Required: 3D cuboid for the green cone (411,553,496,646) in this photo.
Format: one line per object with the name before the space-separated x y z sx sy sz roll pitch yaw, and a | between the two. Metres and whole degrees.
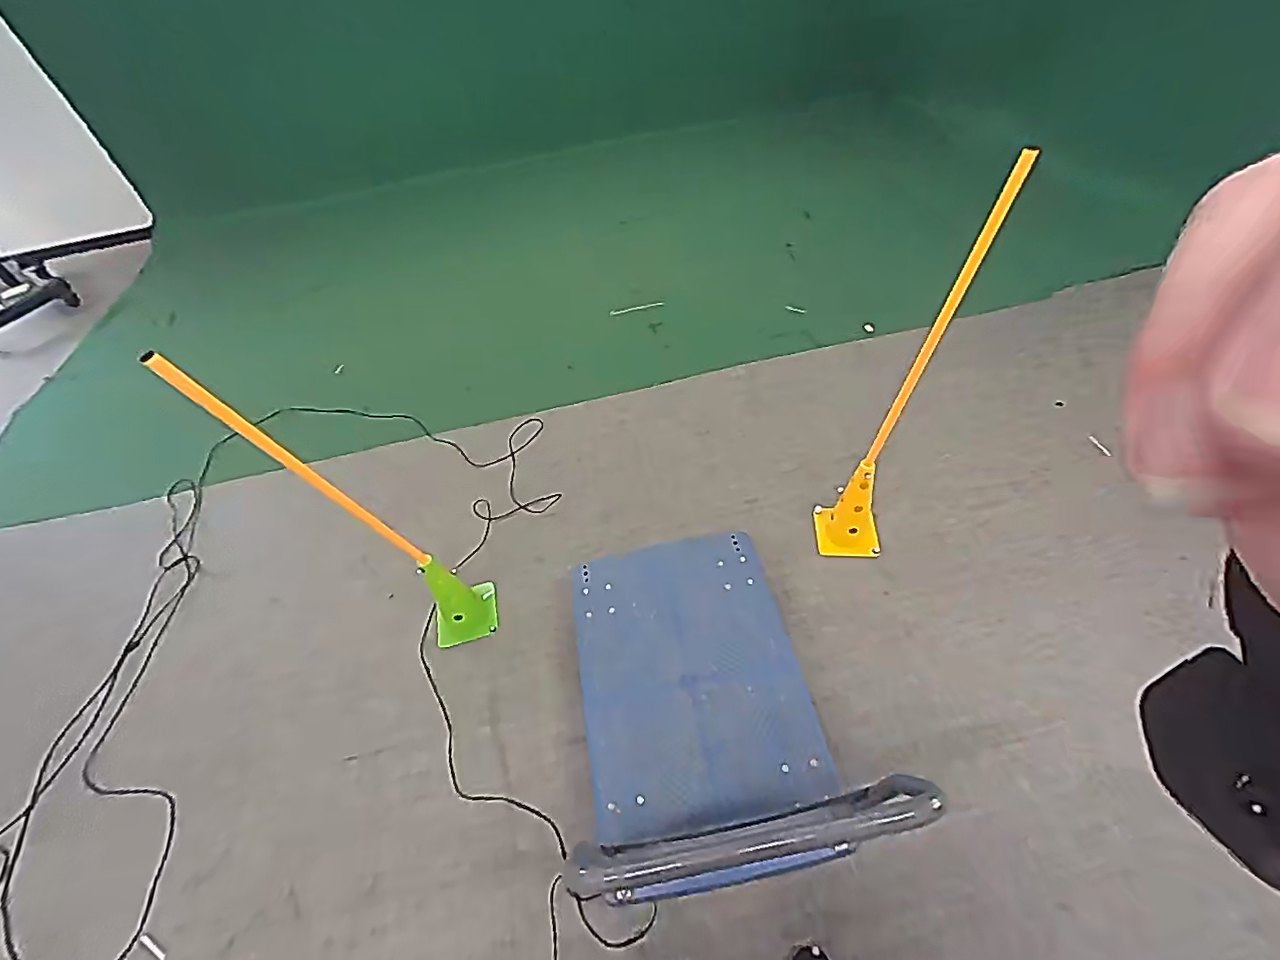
green cone | -0.612 0.334 1.689 0.202 0.368 0.200 -17 50 -4
